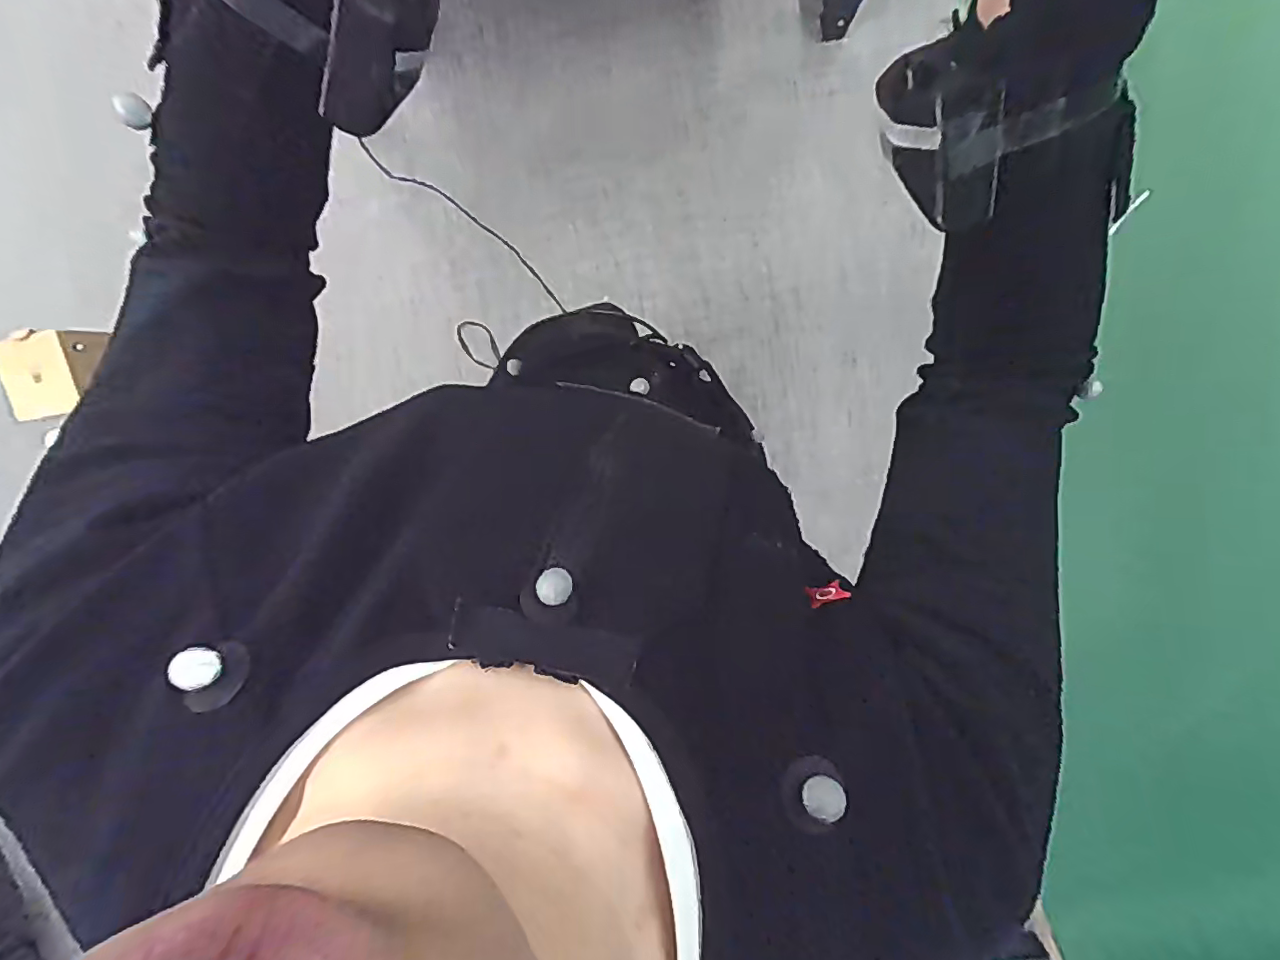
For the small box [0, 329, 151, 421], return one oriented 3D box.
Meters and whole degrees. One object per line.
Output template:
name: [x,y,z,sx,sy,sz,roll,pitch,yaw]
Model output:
small box: [-1.296,-0.242,1.249,0.168,0.176,0.179,-10,100,5]
